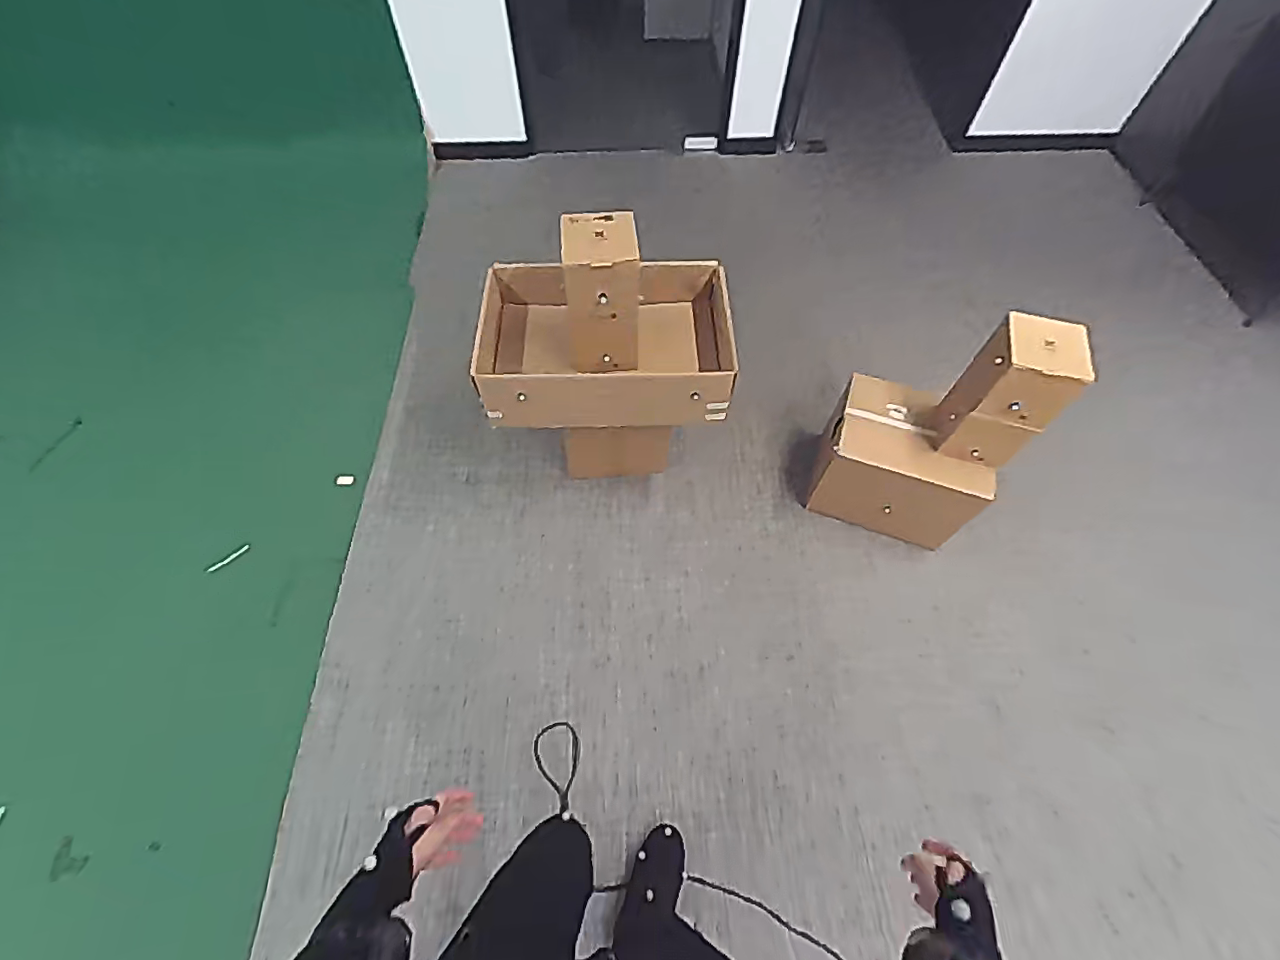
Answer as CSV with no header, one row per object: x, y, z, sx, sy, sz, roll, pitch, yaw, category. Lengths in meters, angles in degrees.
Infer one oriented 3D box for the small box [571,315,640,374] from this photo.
-0.085,-0.393,1.387,0.168,0.176,0.179,-2,59,-1,small box

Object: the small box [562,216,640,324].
-0.088,-0.476,1.246,0.168,0.176,0.179,-4,60,-3,small box

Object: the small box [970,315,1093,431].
0.888,-0.244,1.246,0.168,0.176,0.179,15,60,8,small box
